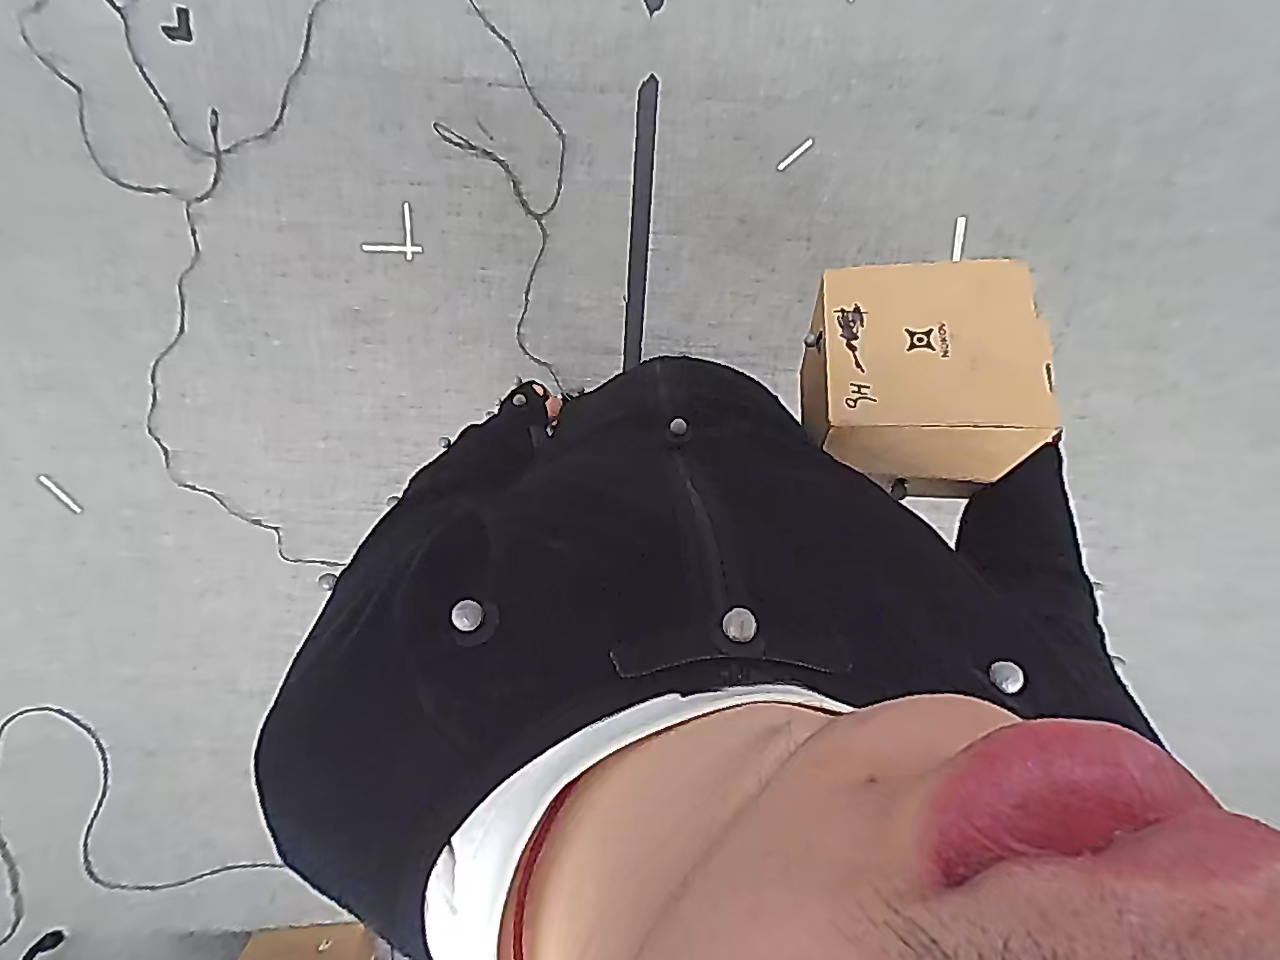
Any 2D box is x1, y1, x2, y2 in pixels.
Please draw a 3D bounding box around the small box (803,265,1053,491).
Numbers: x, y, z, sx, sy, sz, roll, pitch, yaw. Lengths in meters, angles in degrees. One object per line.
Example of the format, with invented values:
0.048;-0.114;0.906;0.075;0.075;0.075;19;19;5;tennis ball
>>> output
0.268;-0.094;0.551;0.179;0.176;0.168;2;69;10;small box
